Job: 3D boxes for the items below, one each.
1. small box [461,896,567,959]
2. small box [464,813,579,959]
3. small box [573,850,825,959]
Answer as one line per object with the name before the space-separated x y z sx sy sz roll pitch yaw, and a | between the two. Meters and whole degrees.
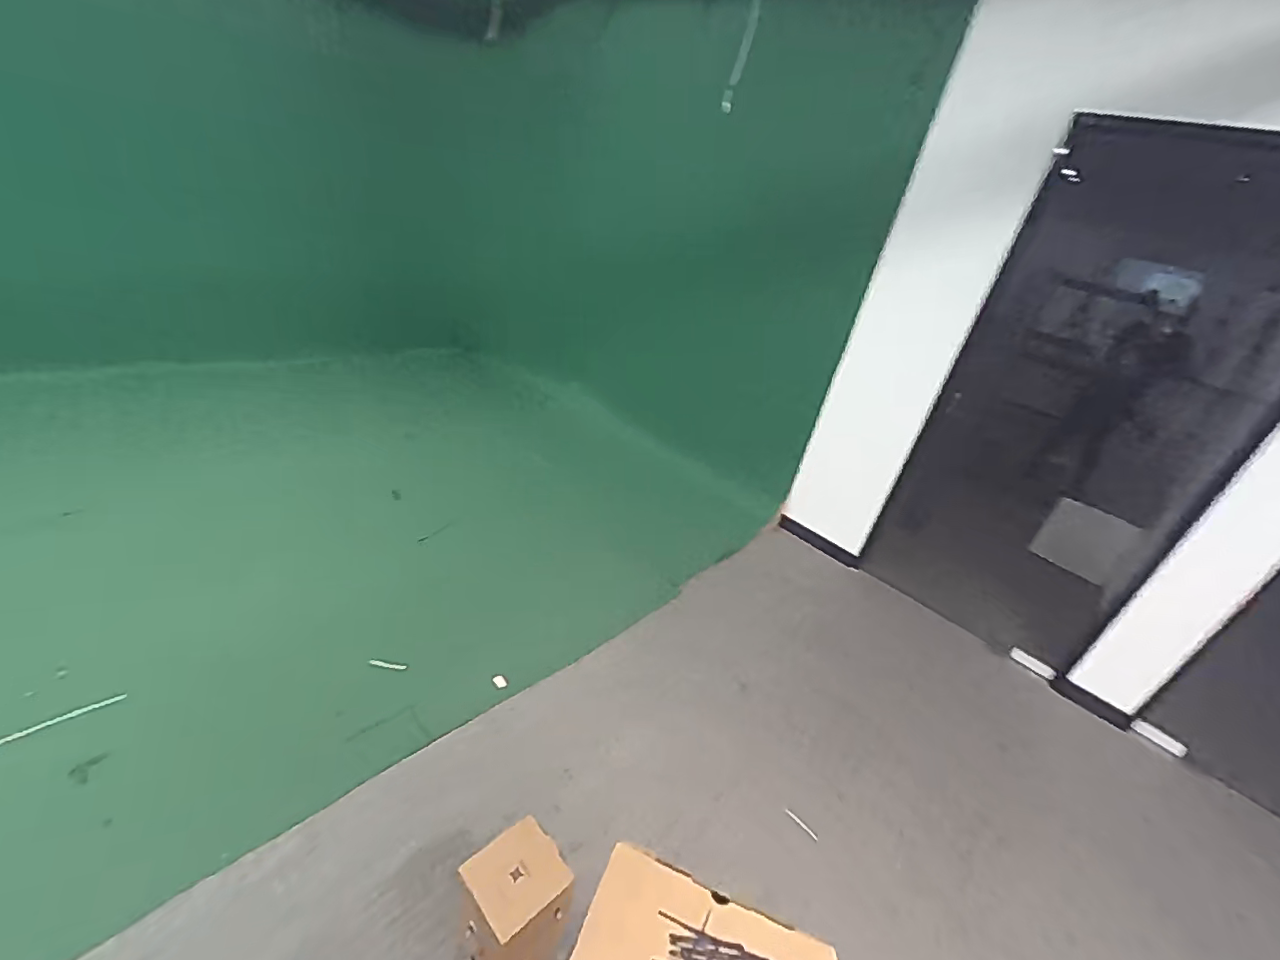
small box | -0.285 0.993 1.213 0.179 0.176 0.168 -16 41 -39
small box | -0.253 0.857 1.130 0.179 0.176 0.168 -19 41 -42
small box | 0.018 0.415 0.388 0.168 0.176 0.179 17 46 15
